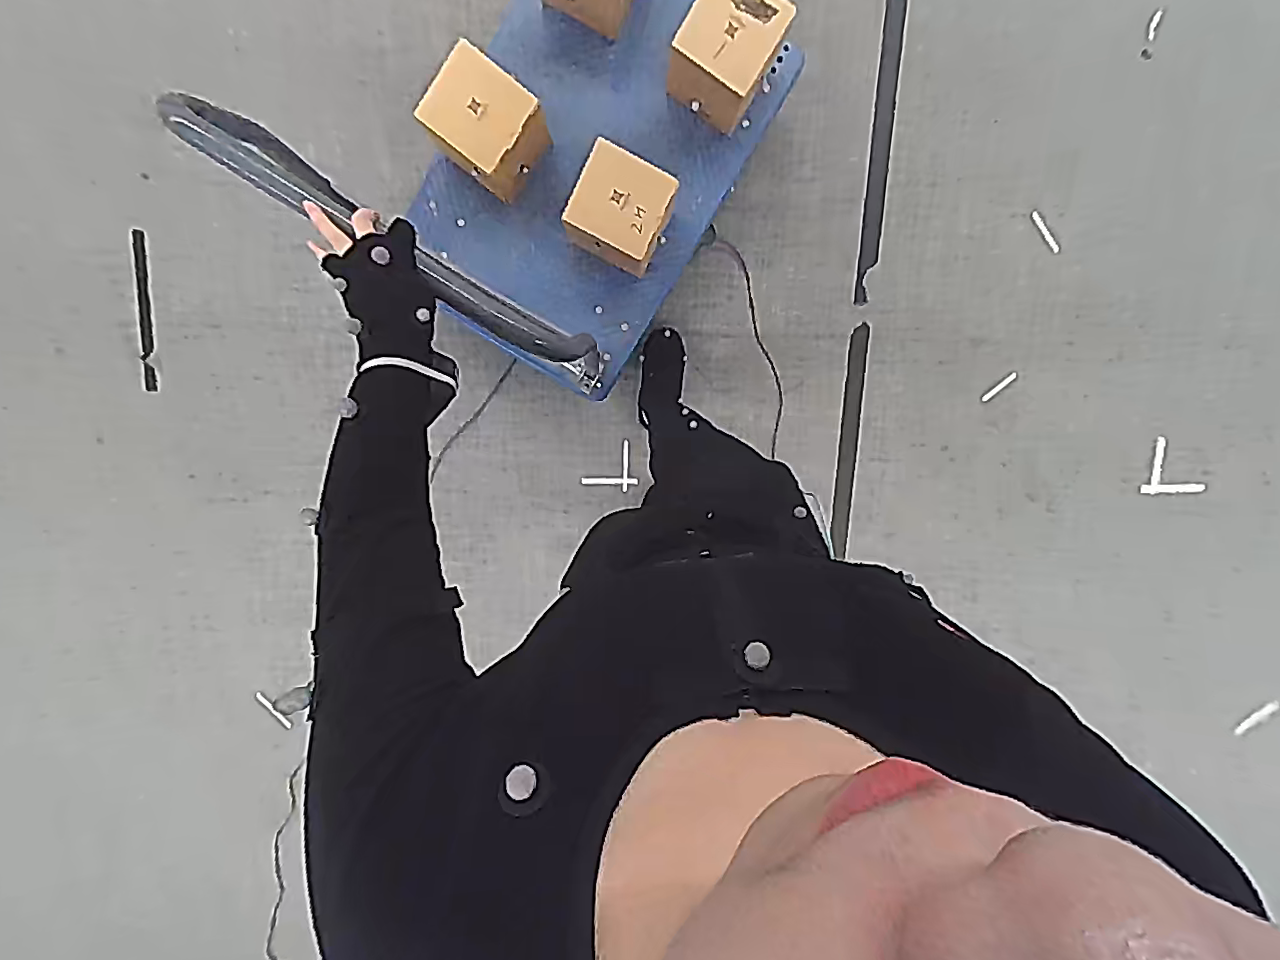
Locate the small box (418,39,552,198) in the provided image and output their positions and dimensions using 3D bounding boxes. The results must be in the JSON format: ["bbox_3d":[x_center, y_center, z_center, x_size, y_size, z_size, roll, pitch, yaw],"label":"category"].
[{"bbox_3d":[-0.298,-0.702,1.078,0.179,0.176,0.168,36,97,-8],"label":"small box"}]

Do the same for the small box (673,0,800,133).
[{"bbox_3d":[0.176,-0.836,1.059,0.168,0.176,0.179,32,99,-6],"label":"small box"}]

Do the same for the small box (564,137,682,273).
[{"bbox_3d":[-0.033,-0.547,1.107,0.179,0.176,0.168,27,99,-5],"label":"small box"}]
